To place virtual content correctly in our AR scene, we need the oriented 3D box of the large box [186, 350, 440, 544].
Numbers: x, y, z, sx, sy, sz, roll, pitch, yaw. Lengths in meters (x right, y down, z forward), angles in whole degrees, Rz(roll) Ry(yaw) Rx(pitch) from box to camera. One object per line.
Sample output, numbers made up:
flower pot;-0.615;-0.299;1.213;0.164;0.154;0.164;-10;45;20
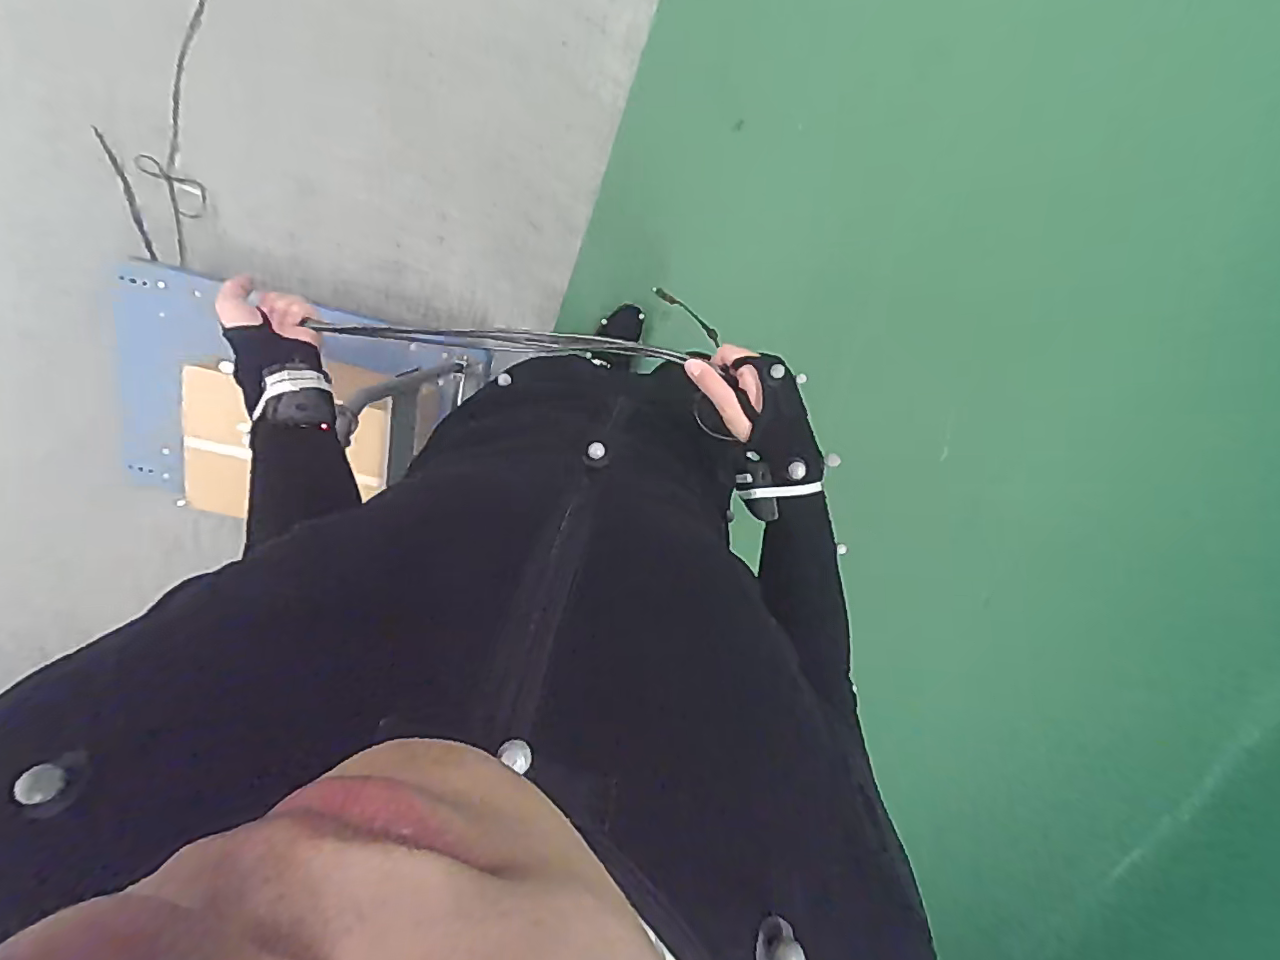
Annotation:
large box;-0.721;-0.090;1.249;0.408;0.320;0.320;13;108;-6
